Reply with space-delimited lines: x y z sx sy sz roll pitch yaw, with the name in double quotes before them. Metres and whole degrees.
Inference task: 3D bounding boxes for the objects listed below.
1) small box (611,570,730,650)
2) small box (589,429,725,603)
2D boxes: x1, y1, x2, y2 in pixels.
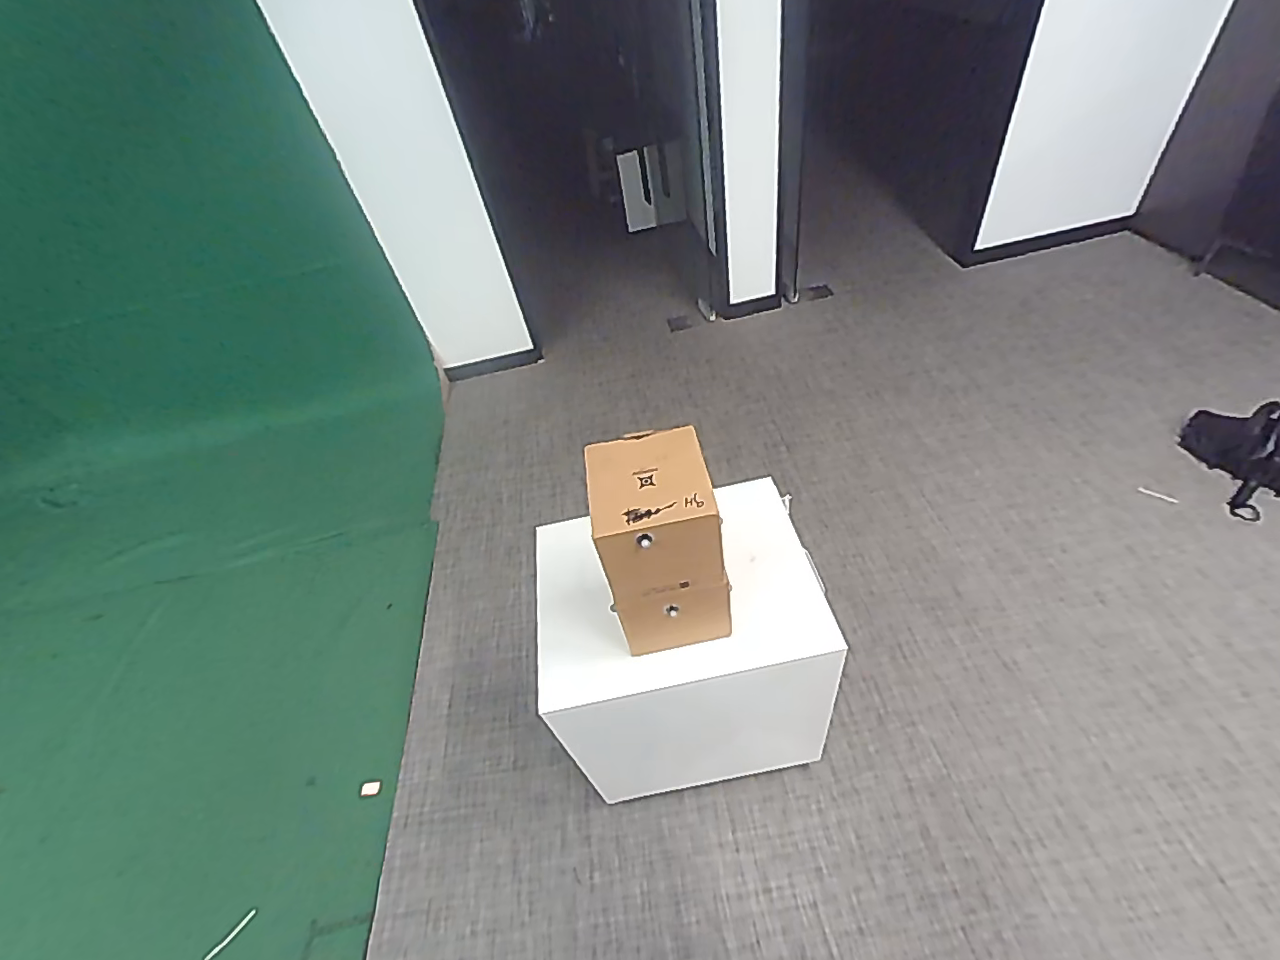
"small box" 0.049 0.168 0.916 0.179 0.176 0.168 -11 46 0
"small box" 0.025 0.054 0.804 0.168 0.176 0.179 -12 46 -1
